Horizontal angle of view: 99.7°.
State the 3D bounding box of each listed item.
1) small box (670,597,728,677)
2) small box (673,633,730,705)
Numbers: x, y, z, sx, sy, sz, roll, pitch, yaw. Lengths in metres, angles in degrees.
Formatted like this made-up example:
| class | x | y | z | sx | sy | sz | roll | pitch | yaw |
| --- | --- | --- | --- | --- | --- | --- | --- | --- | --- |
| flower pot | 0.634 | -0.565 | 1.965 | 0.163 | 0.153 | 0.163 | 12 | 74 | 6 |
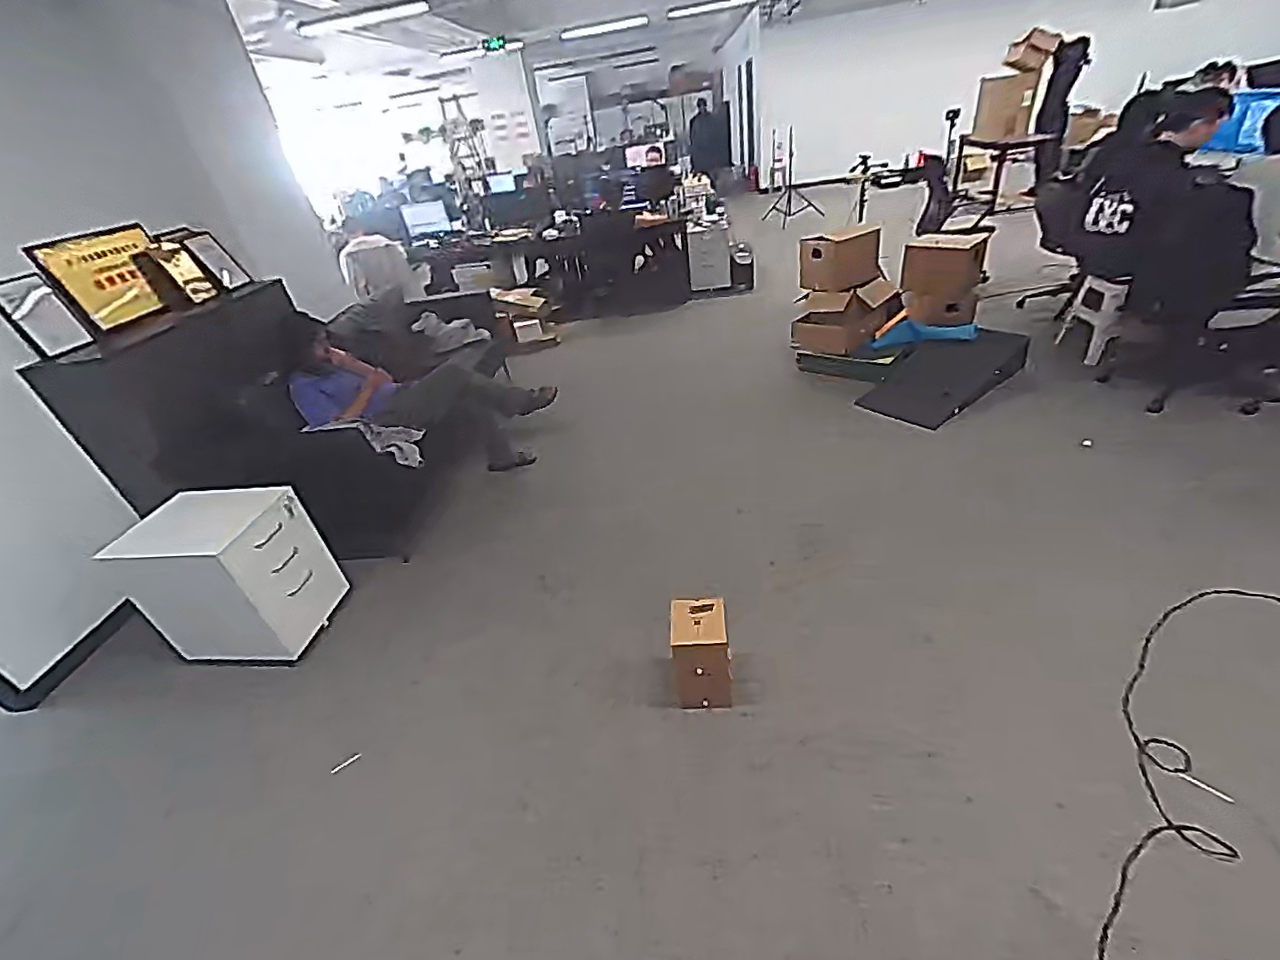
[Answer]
| class | x | y | z | sx | sy | sz | roll | pitch | yaw |
| --- | --- | --- | --- | --- | --- | --- | --- | --- | --- |
| small box | 0.184 | 0.488 | 1.679 | 0.168 | 0.176 | 0.179 | -5 | 34 | 8 |
| small box | 0.206 | 0.620 | 1.776 | 0.179 | 0.176 | 0.168 | -4 | 33 | 8 |
